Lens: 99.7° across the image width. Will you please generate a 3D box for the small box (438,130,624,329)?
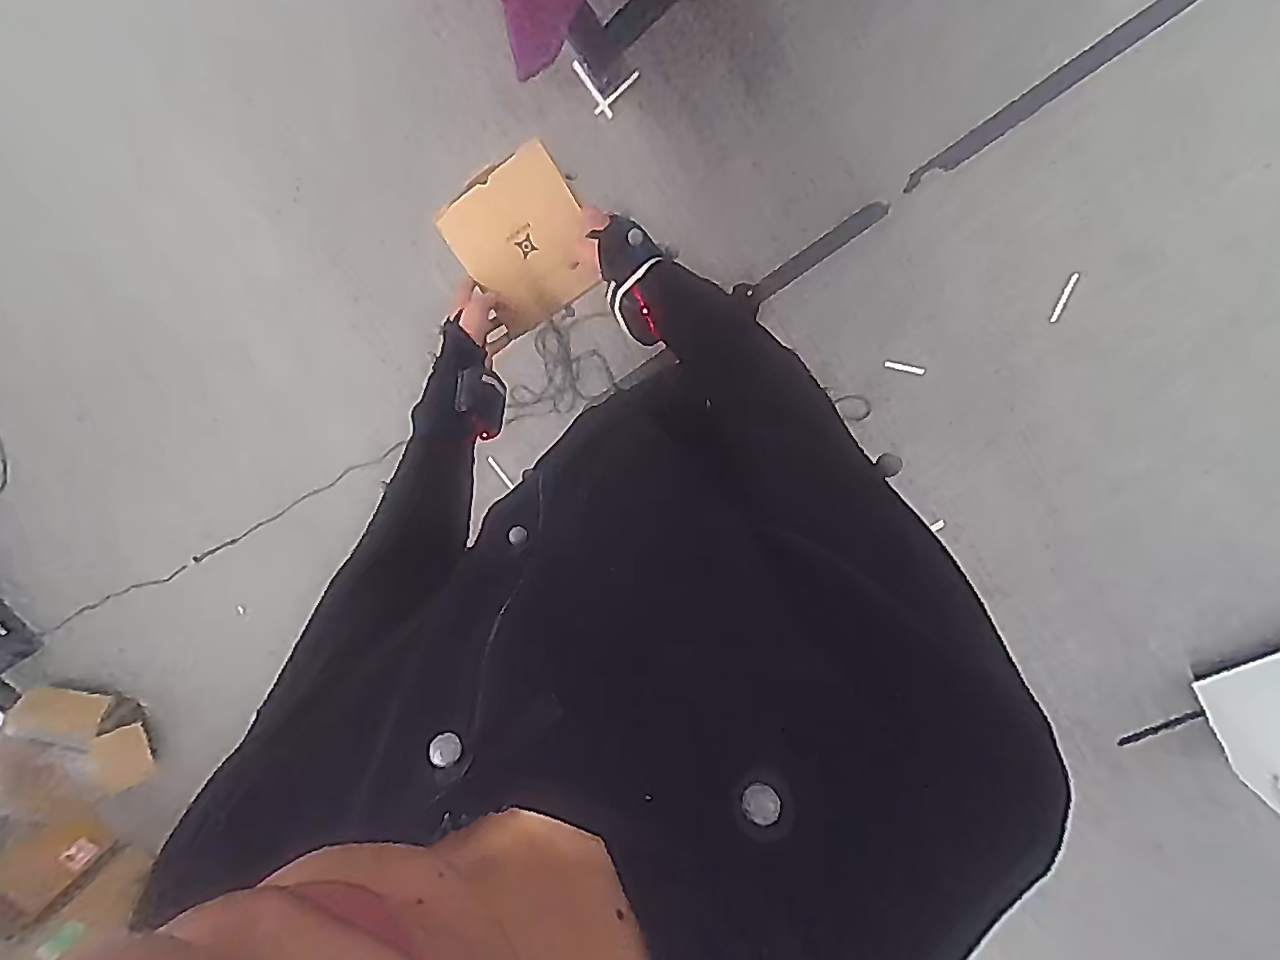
[{"bbox_3d":[-0.135,-0.330,0.744,0.168,0.176,0.179,-29,108,12],"label":"small box"}]
